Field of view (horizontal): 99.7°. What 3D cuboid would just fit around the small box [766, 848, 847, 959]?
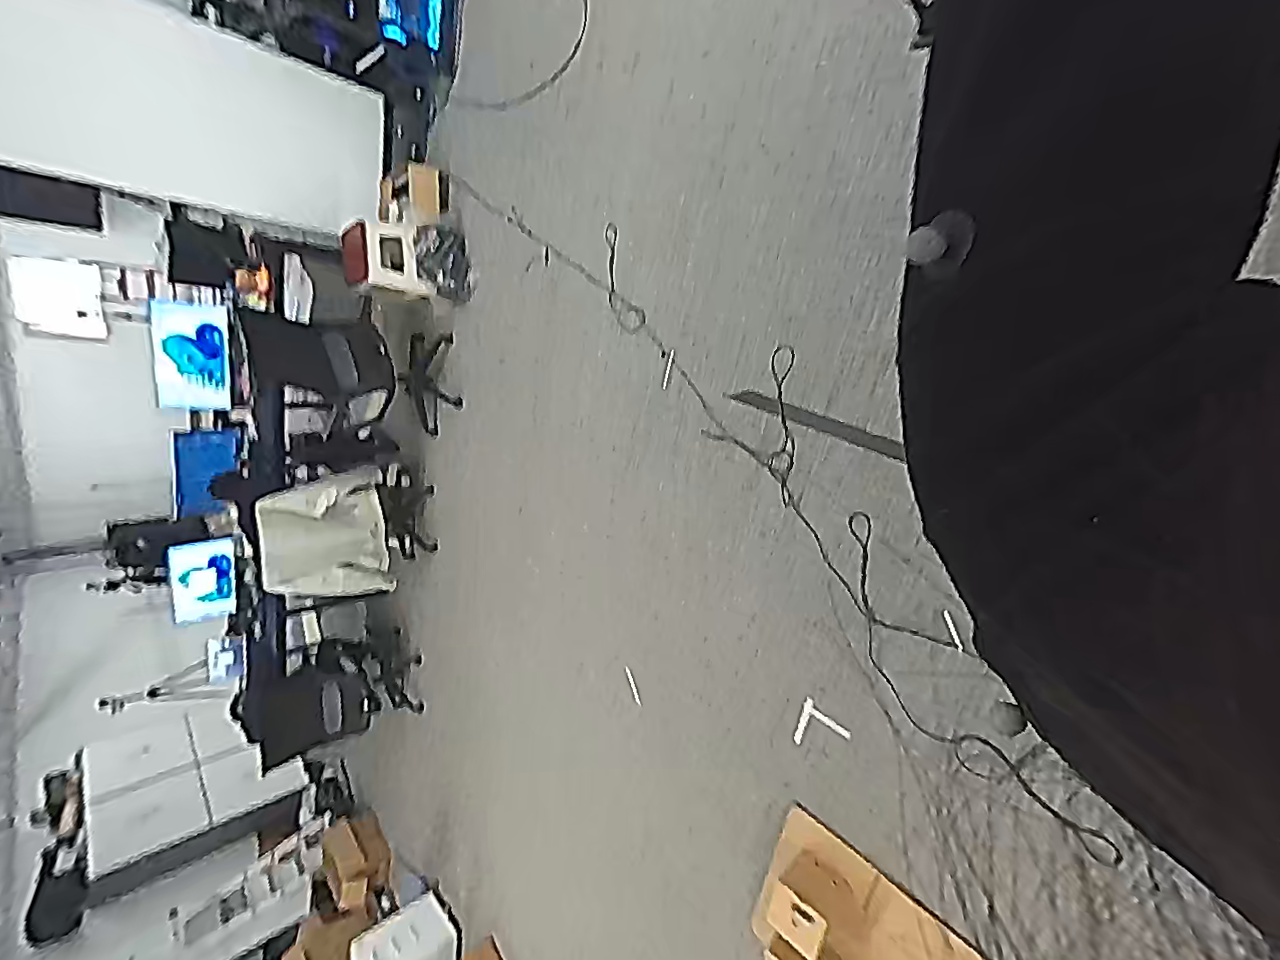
[{"bbox_3d":[0.520,1.305,1.680,0.168,0.176,0.179,23,111,40],"label":"small box"}]
